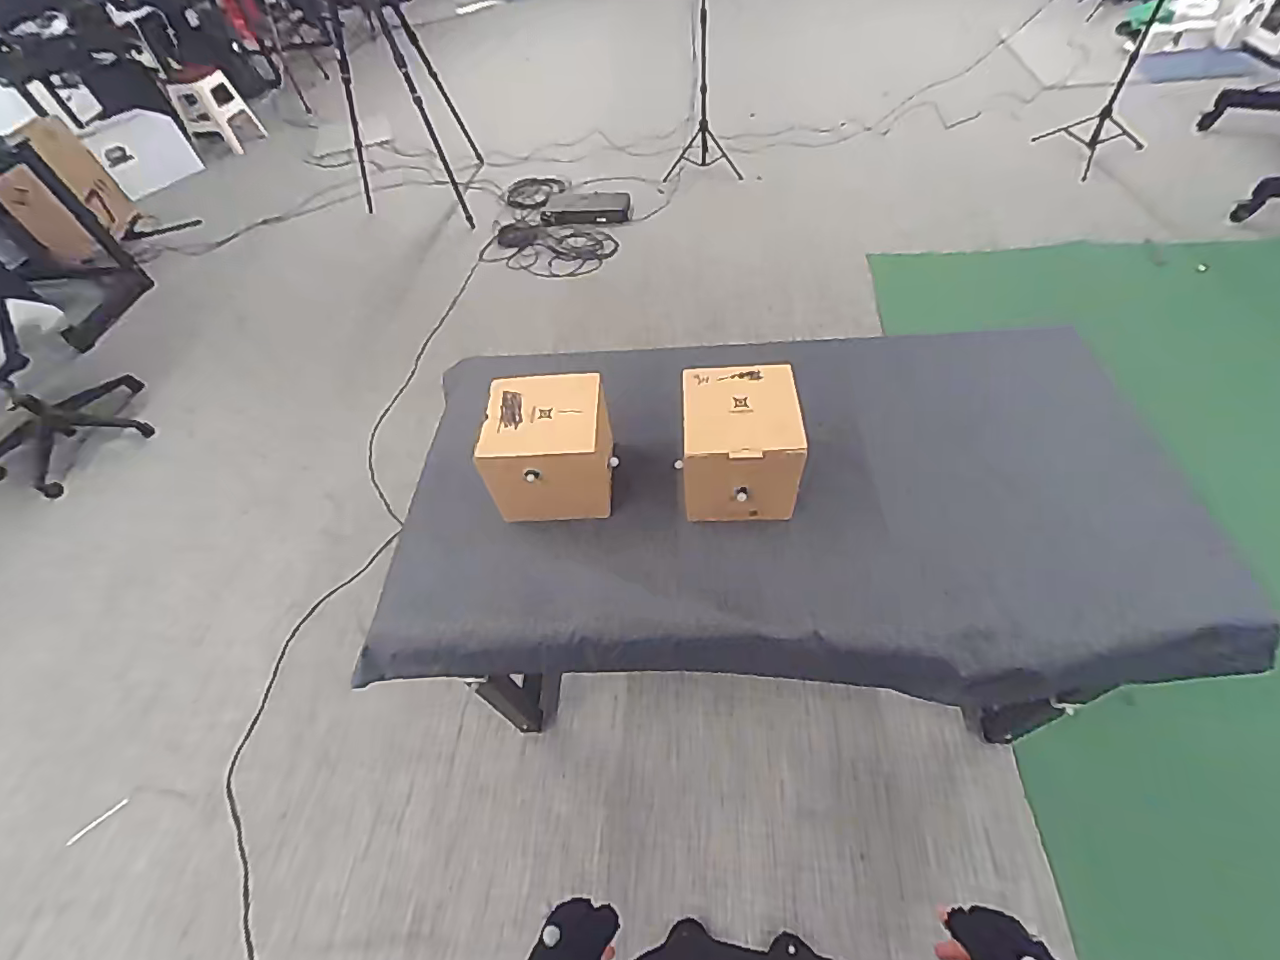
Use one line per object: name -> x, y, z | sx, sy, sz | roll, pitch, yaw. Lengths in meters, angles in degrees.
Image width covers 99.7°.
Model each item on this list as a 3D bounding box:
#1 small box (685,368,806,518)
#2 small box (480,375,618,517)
small box -> 0.157, -0.051, 0.844 | 0.168, 0.176, 0.179 | -1, 53, 6
small box -> -0.134, -0.050, 0.875 | 0.179, 0.176, 0.168 | -2, 53, 4
